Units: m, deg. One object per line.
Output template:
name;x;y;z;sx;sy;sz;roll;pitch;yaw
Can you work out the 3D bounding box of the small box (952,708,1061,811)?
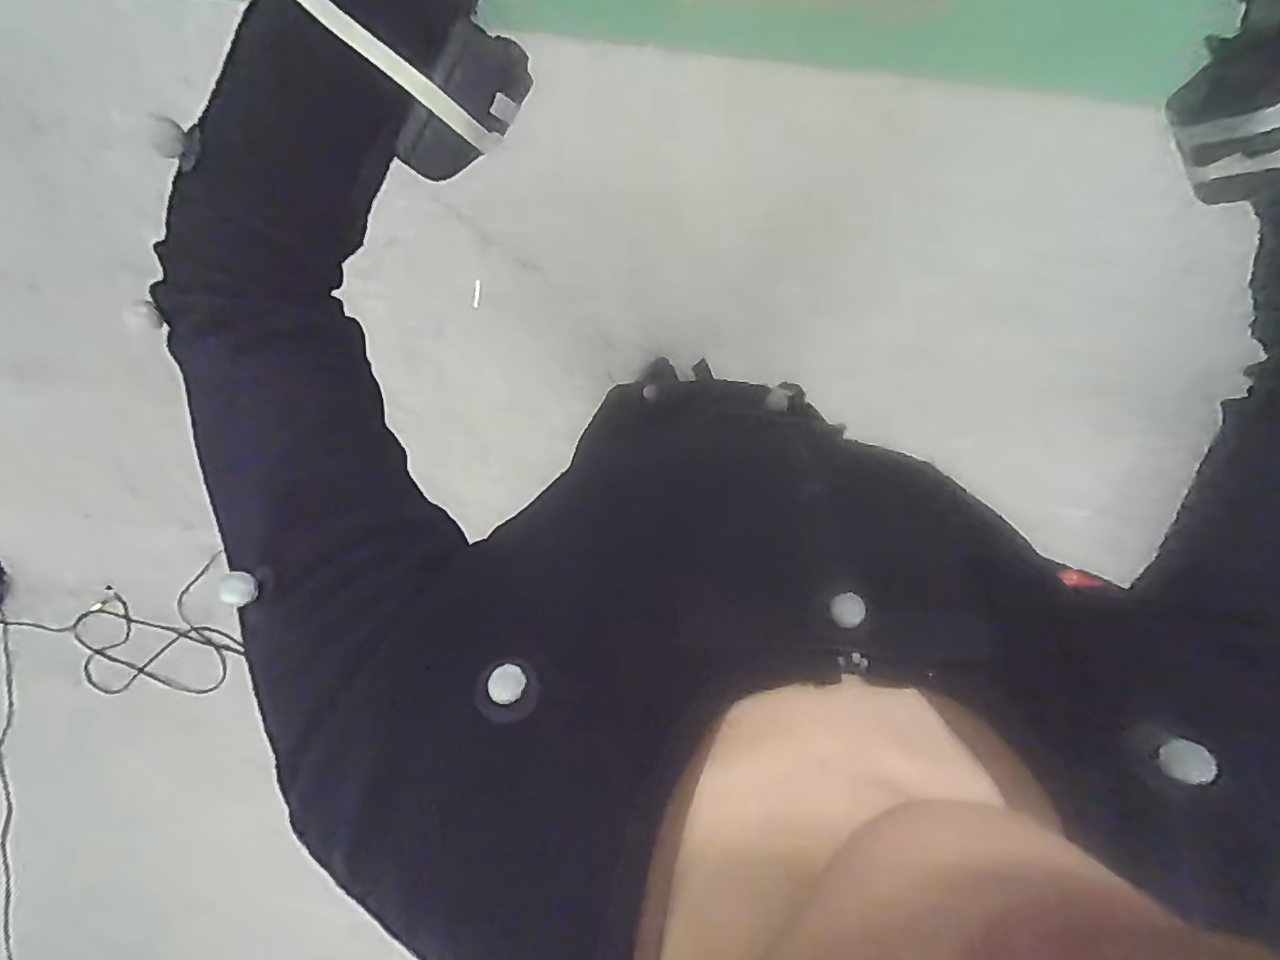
small box;1.010;0.774;1.510;0.168;0.176;0.179;12;100;-1
